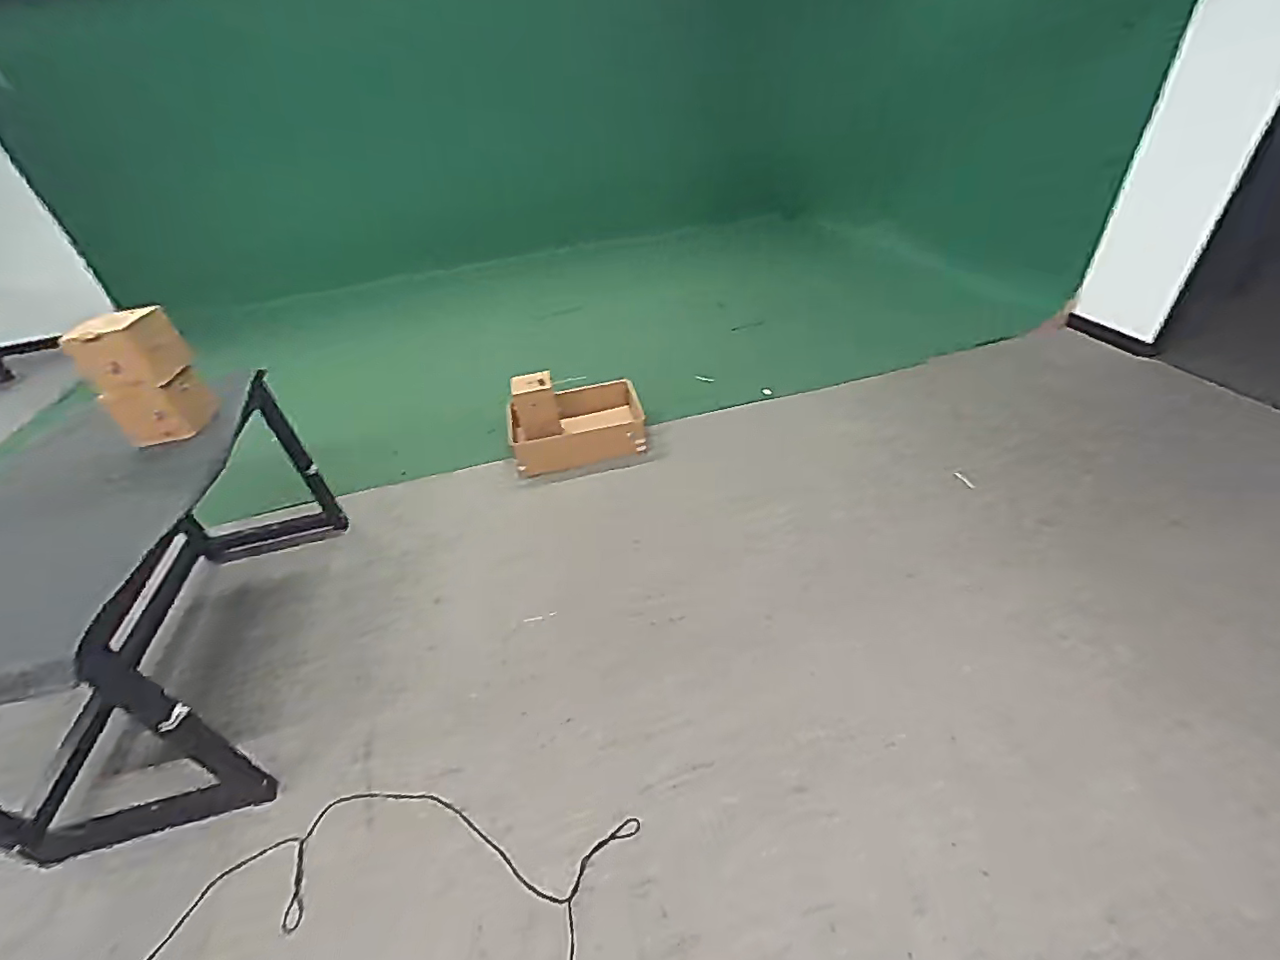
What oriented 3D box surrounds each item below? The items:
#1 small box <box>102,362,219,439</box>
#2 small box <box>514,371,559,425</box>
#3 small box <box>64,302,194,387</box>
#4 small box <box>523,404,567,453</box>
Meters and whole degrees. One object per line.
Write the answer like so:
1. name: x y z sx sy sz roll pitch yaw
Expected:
1. small box: -1.401 -0.234 1.597 0.168 0.176 0.179 -10 38 -5
2. small box: -0.465 -0.371 2.443 0.179 0.176 0.168 -11 39 -5
3. small box: -1.404 -0.371 1.505 0.168 0.176 0.179 -9 39 -2
4. small box: -0.452 -0.247 2.550 0.179 0.176 0.168 -11 40 -7
